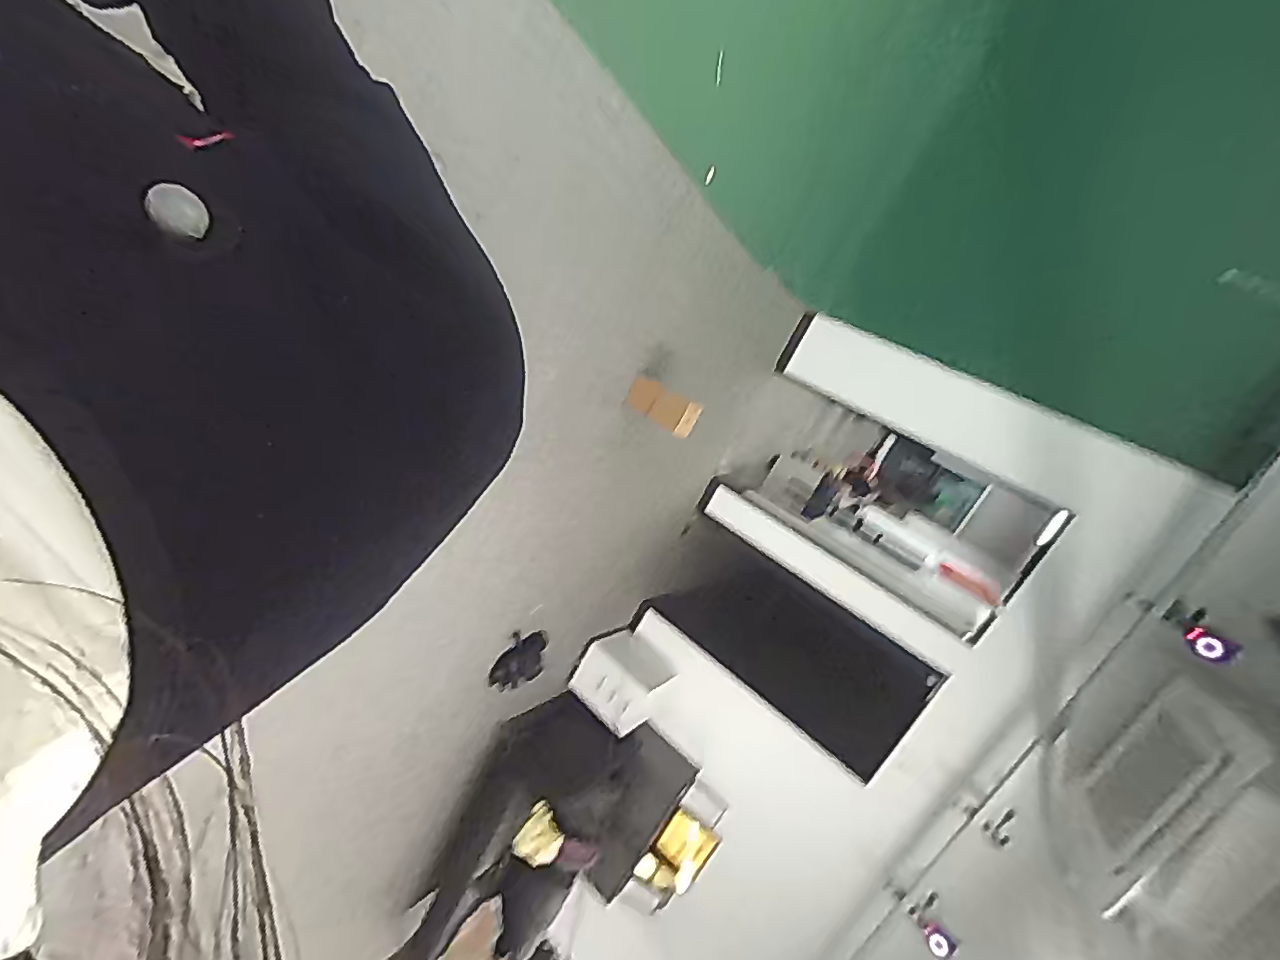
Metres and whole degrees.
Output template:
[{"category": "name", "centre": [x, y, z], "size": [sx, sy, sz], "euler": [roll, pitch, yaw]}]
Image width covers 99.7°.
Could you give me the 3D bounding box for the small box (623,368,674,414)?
[{"category": "small box", "centre": [0.039, -0.438, 2.707], "size": [0.168, 0.176, 0.179], "euler": [0, 119, -61]}]

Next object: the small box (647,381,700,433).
[{"category": "small box", "centre": [0.158, -0.353, 2.632], "size": [0.179, 0.176, 0.168], "euler": [-60, 155, 11]}]
